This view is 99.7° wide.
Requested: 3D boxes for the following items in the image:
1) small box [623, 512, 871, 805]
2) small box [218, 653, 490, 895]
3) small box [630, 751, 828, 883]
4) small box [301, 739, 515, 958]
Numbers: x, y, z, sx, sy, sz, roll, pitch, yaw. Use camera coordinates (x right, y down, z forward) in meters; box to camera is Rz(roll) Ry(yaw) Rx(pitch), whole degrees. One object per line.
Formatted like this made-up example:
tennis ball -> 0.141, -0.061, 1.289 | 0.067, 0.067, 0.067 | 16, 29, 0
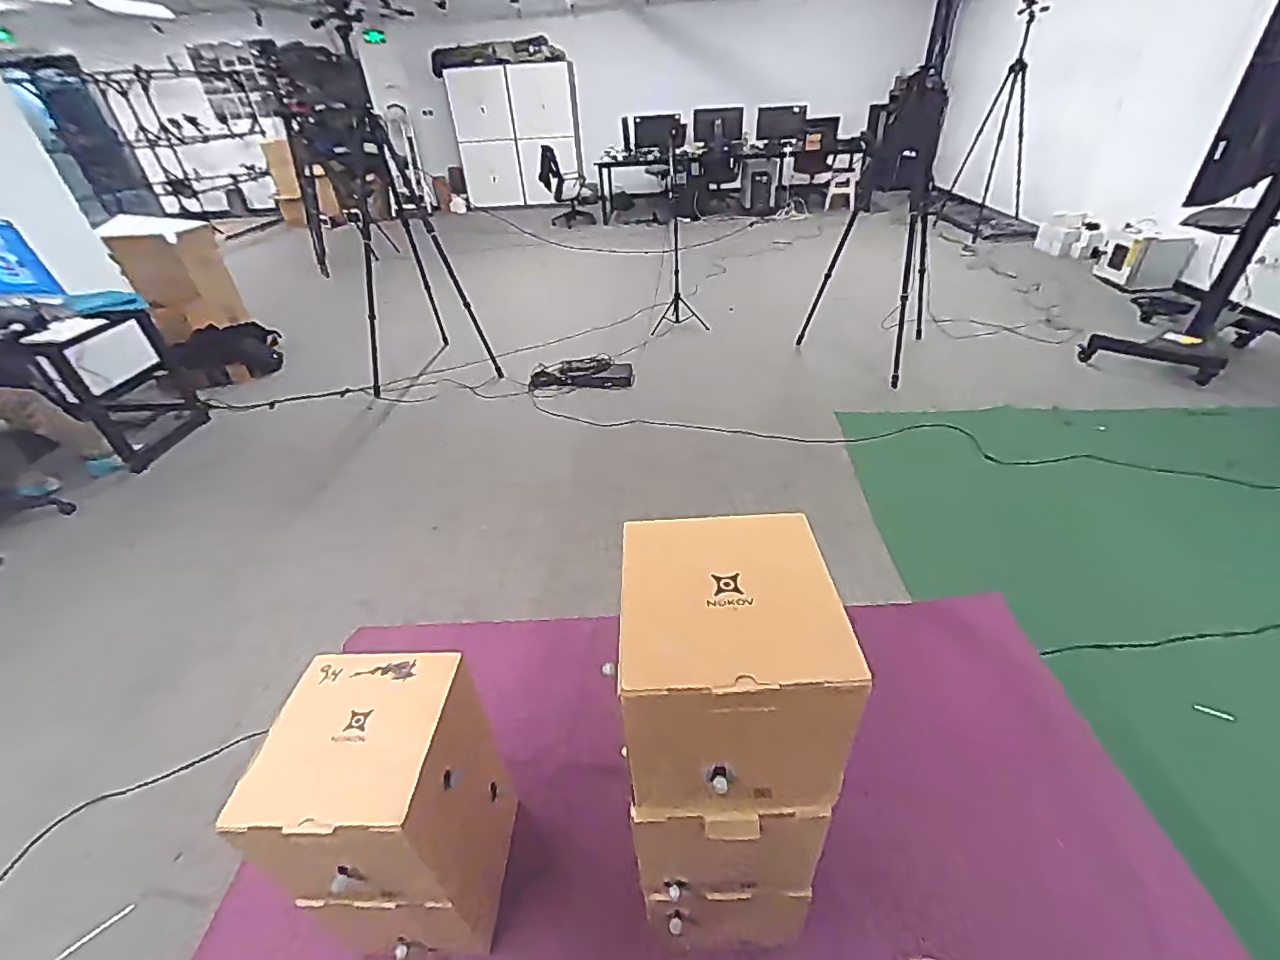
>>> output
small box -> 0.072, 0.148, 0.467 | 0.168, 0.176, 0.179 | -3, 36, 1
small box -> -0.268, 0.305, 0.562 | 0.168, 0.176, 0.179 | -2, 36, 2
small box -> 0.079, 0.286, 0.554 | 0.168, 0.176, 0.179 | -3, 34, 2
small box -> -0.258, 0.441, 0.655 | 0.168, 0.176, 0.179 | -3, 36, 3
